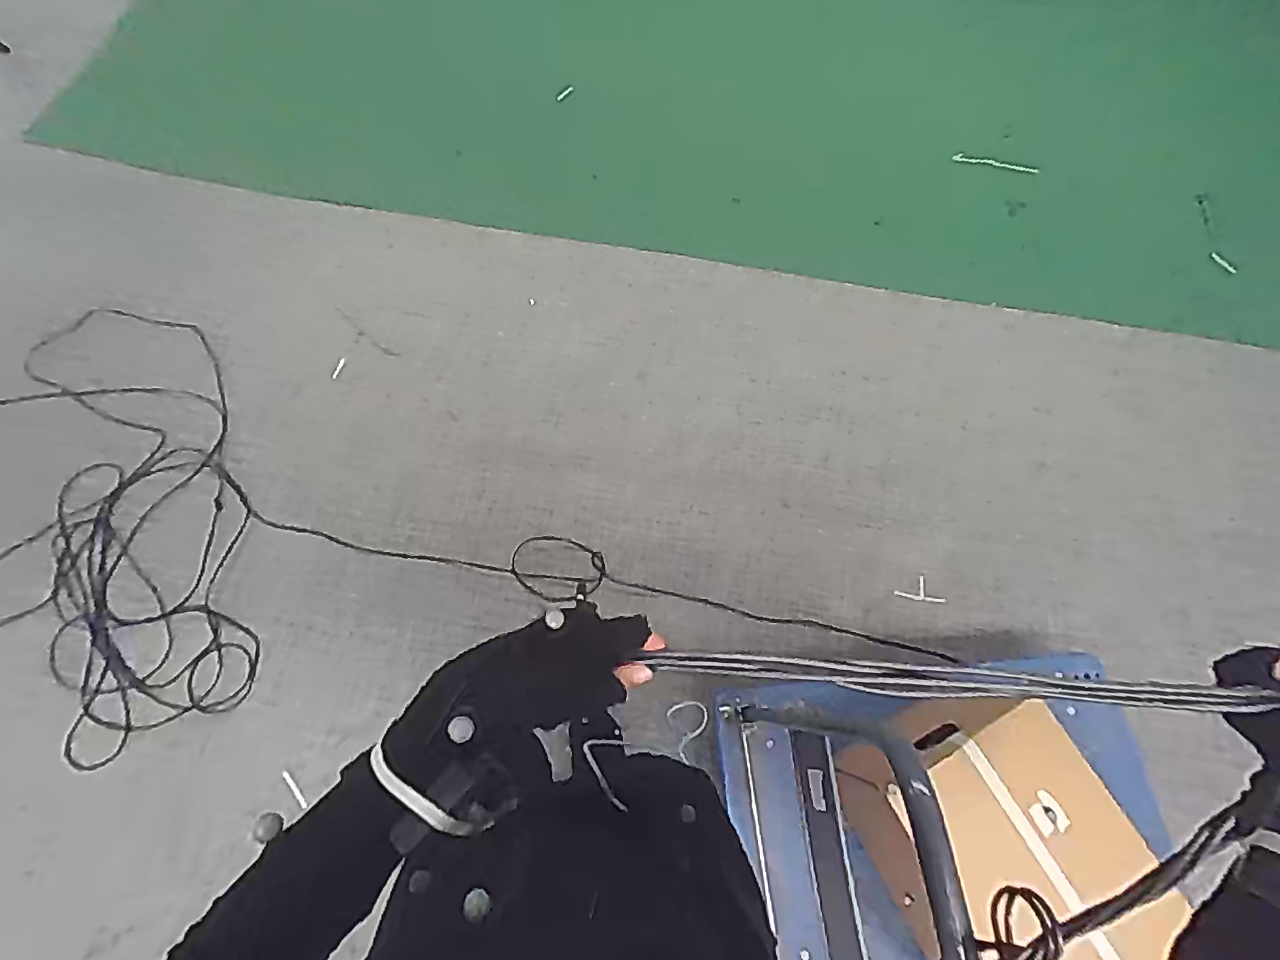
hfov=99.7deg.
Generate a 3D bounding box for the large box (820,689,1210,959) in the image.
[{"bbox_3d":[0.593,0.628,0.948,0.320,0.320,0.408,-25,71,-11],"label":"large box"}]
